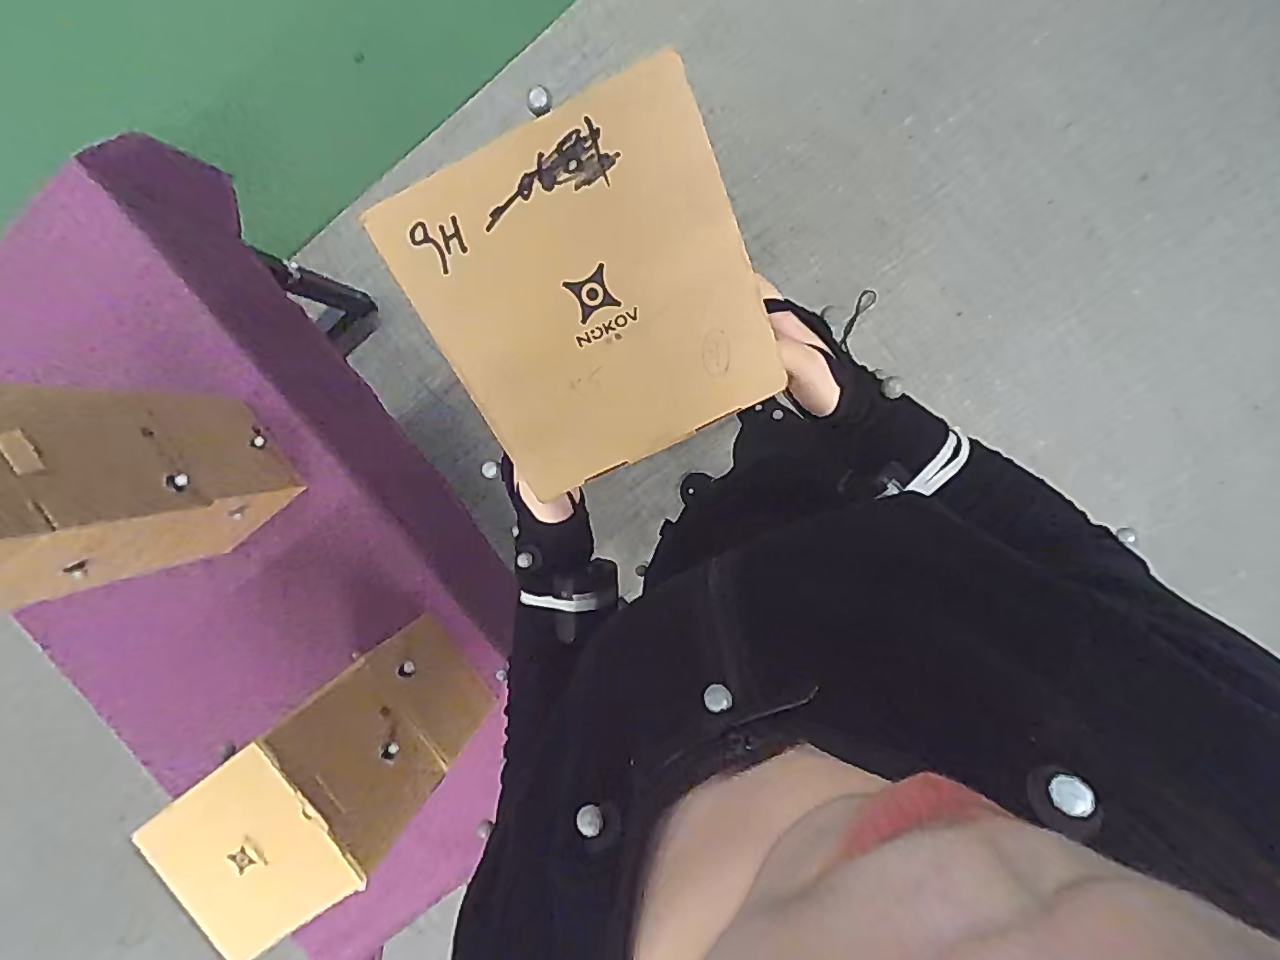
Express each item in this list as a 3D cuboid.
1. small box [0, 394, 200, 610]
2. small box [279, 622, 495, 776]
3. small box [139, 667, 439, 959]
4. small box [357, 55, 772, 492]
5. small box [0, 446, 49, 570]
[{"bbox_3d":[-0.636,0.017,0.586,0.179,0.176,0.168,-35,91,9],"label":"small box"},{"bbox_3d":[-0.336,0.319,0.748,0.168,0.176,0.179,-38,90,9],"label":"small box"},{"bbox_3d":[-0.360,0.342,0.588,0.179,0.176,0.168,-37,90,7],"label":"small box"},{"bbox_3d":[-0.036,-0.127,0.357,0.168,0.176,0.179,-25,116,4],"label":"small box"},{"bbox_3d":[-0.649,0.027,0.424,0.168,0.176,0.179,-34,91,6],"label":"small box"}]
